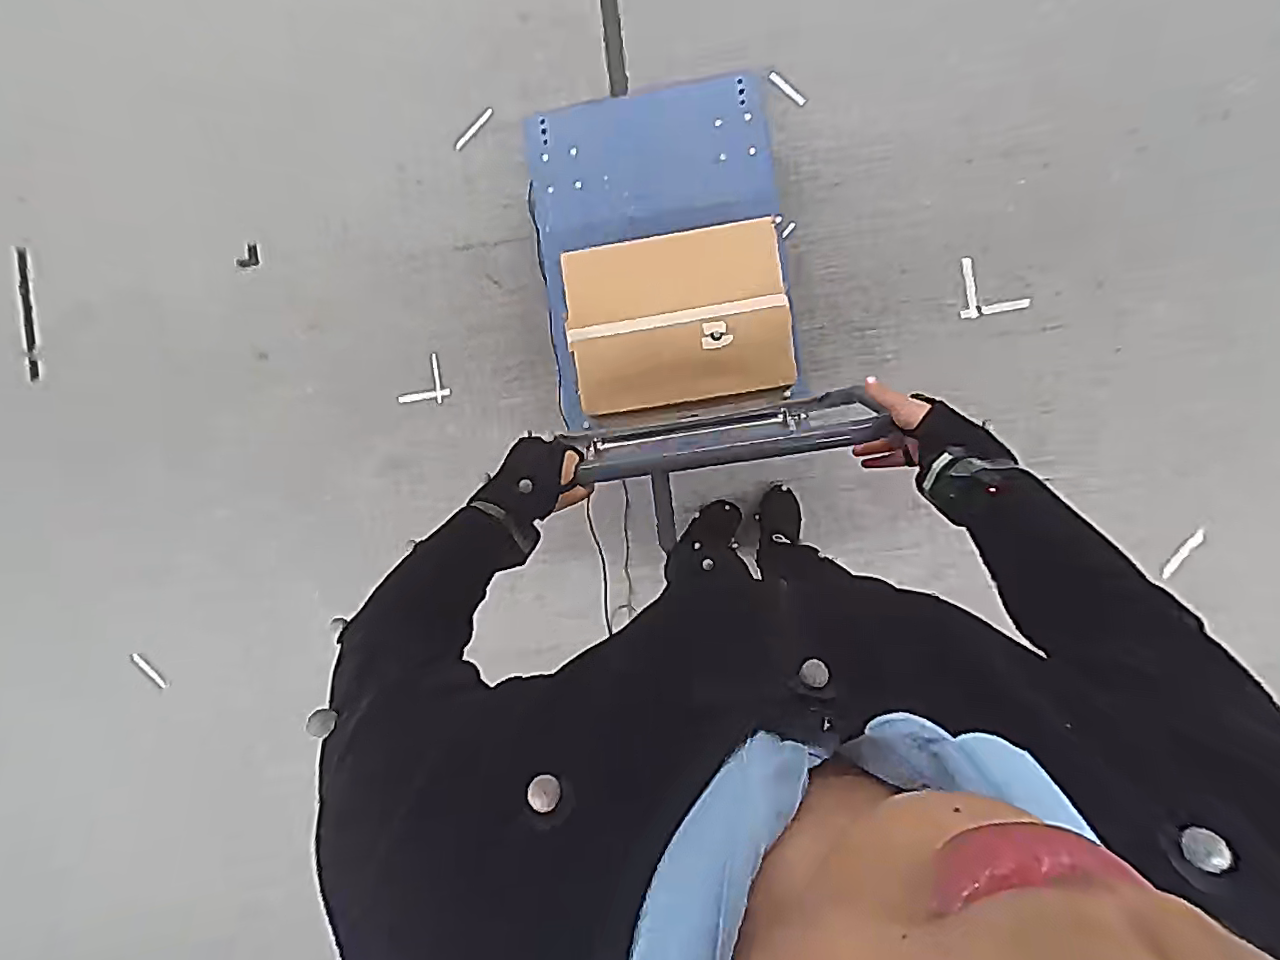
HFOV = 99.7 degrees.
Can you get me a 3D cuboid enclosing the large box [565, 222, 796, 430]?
[{"bbox_3d":[0.081,-0.300,1.163,0.408,0.320,0.320,-8,91,4],"label":"large box"}]
